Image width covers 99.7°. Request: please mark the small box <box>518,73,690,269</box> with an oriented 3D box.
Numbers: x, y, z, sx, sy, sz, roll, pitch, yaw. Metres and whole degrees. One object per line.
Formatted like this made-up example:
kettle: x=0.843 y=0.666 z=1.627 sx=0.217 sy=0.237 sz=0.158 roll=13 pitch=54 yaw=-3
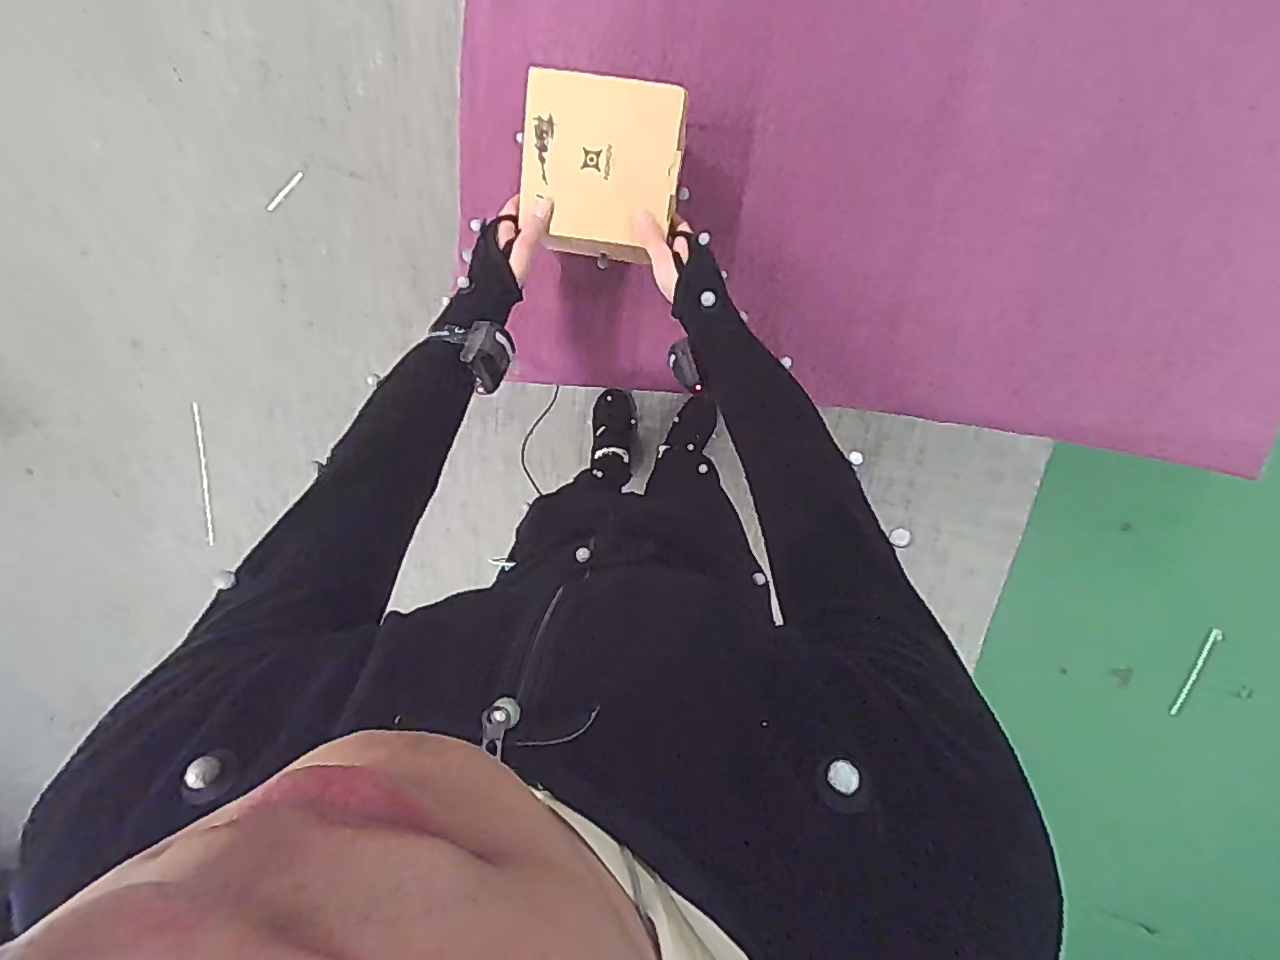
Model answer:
small box: x=-0.041 y=-0.368 z=0.678 sx=0.179 sy=0.176 sz=0.168 roll=9 pitch=105 yaw=0
